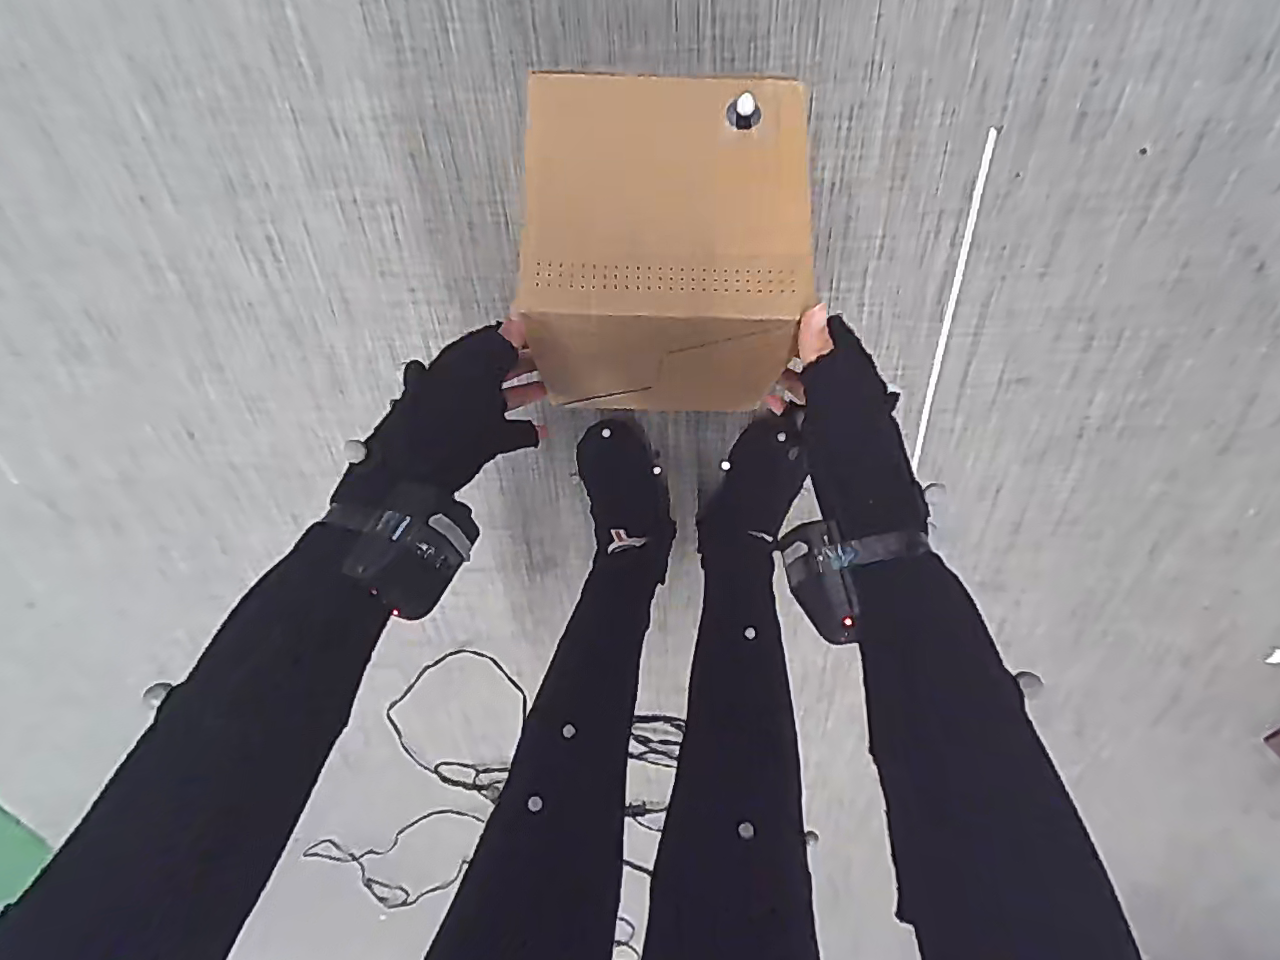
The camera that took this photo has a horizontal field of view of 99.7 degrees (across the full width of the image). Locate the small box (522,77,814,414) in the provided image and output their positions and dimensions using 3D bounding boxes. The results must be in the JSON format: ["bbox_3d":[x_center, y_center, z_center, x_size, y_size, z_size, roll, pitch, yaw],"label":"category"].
[{"bbox_3d":[0.015,-0.151,0.397,0.179,0.168,0.176,1,79,-1],"label":"small box"}]
